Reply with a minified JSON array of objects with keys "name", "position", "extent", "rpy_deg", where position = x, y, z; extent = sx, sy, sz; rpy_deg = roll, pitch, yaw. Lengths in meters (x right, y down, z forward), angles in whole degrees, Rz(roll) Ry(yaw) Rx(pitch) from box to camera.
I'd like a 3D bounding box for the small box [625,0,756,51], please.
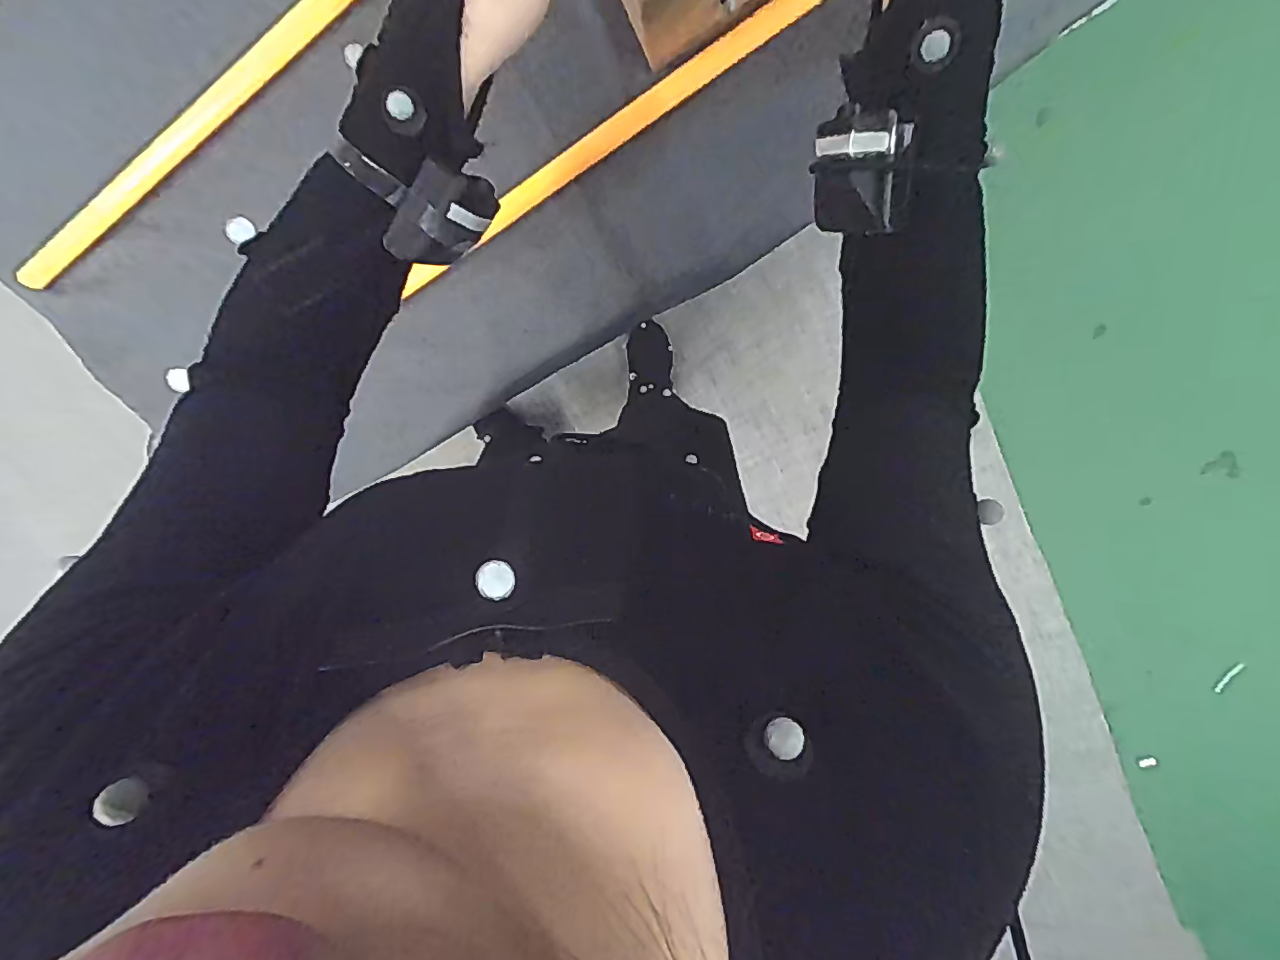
[{"name":"small box","position":[0.042,-0.487,0.430],"extent":[0.168,0.176,0.179],"rpy_deg":[-23,109,15]}]
